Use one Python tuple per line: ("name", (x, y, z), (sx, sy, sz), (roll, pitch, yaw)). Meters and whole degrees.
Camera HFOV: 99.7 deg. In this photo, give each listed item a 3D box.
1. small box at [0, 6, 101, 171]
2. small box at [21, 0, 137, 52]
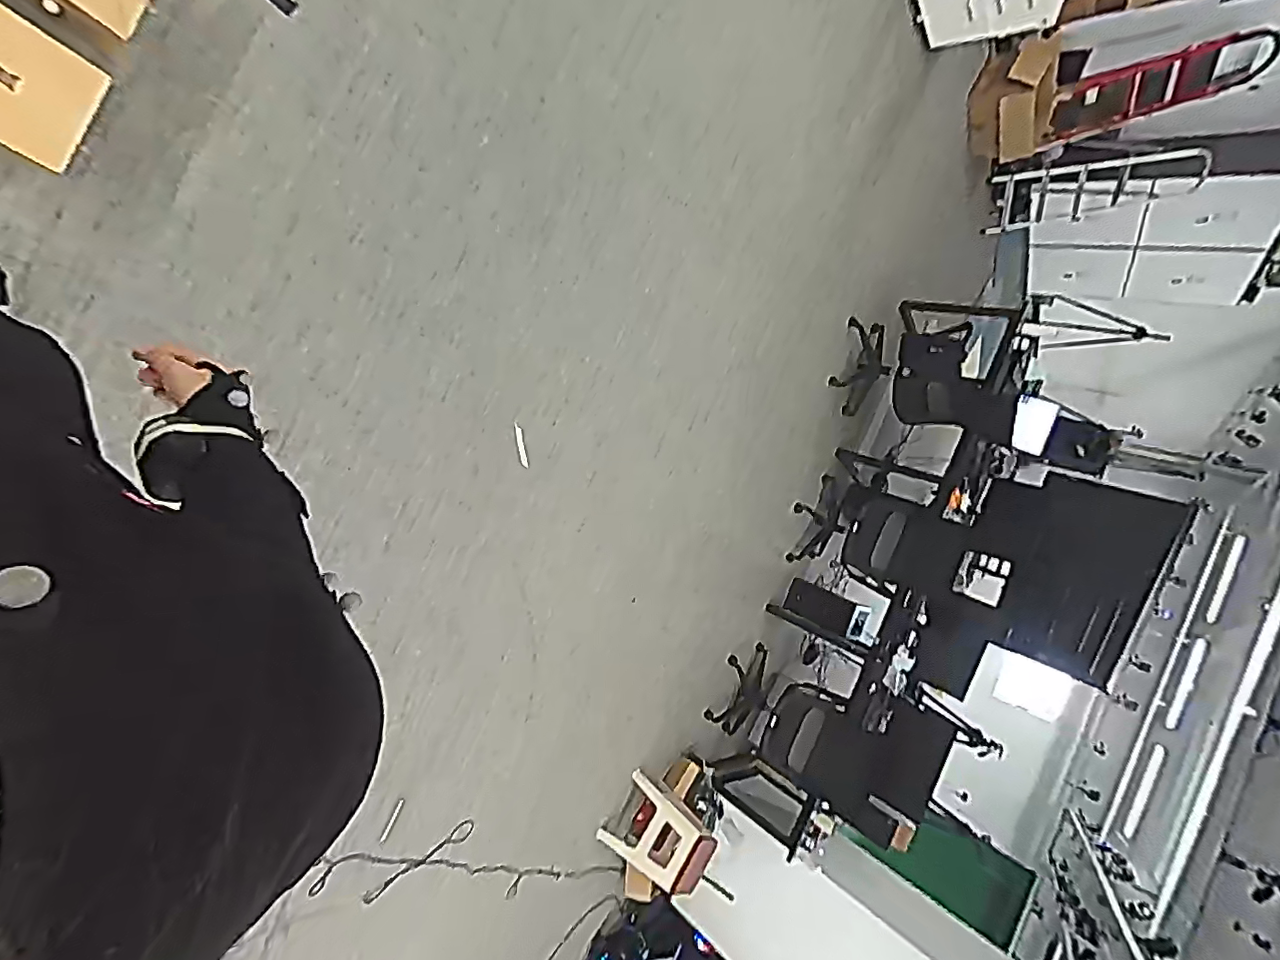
("small box", (-0.930, -0.574, 0.771), (0.179, 0.176, 0.168), (29, 85, -52))
("small box", (-0.835, -0.776, 0.780), (0.168, 0.176, 0.179), (27, 86, -52))
